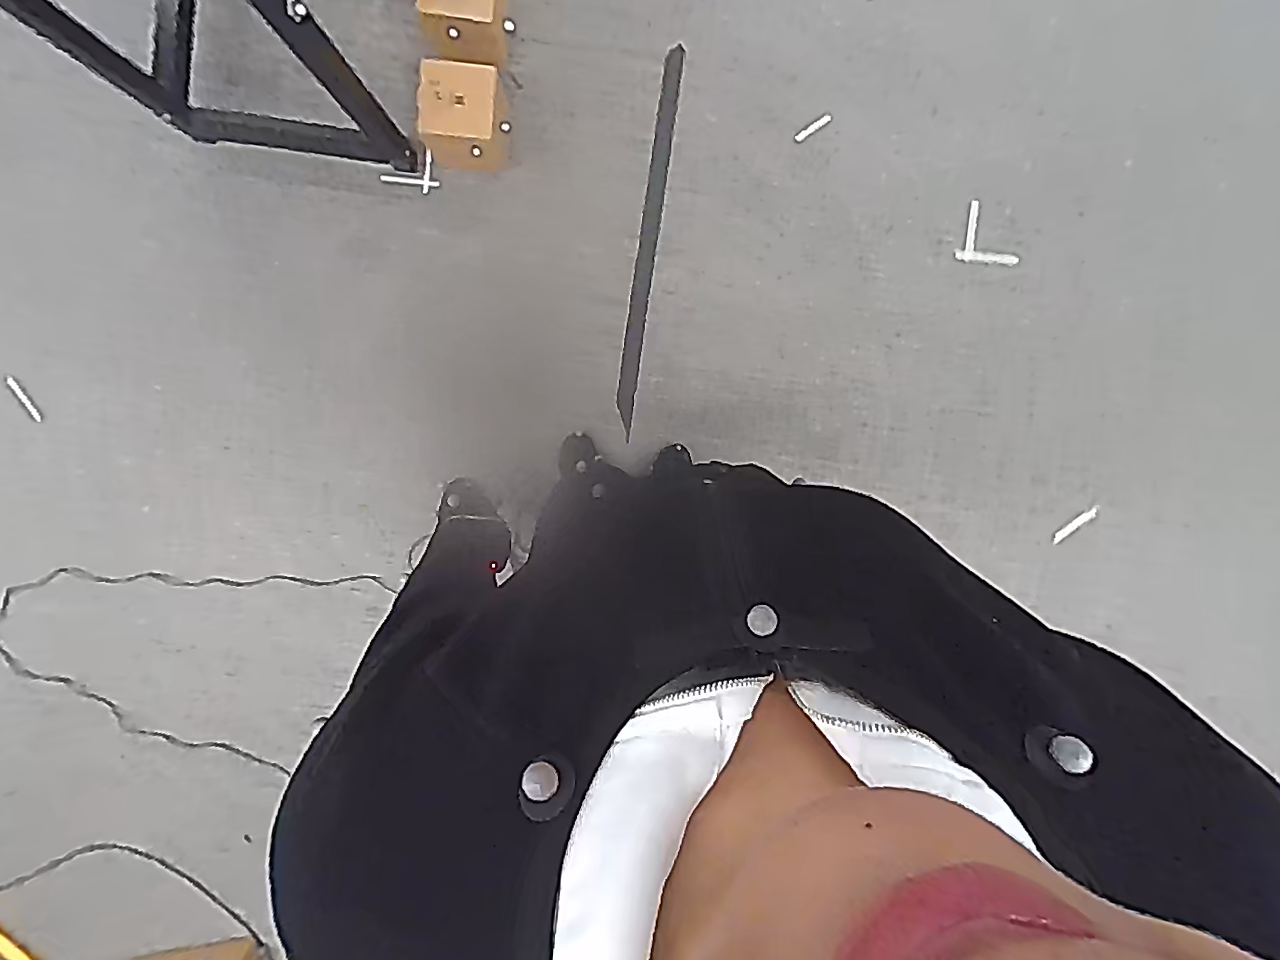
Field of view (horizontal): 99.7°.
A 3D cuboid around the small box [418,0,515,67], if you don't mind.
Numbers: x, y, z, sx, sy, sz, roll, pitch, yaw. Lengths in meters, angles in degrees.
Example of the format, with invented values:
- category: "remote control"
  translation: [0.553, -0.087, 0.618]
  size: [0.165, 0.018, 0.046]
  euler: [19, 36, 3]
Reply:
- category: "small box"
  translation: [-0.415, -1.149, 1.315]
  size: [0.179, 0.176, 0.168]
  euler: [7, 95, -3]
